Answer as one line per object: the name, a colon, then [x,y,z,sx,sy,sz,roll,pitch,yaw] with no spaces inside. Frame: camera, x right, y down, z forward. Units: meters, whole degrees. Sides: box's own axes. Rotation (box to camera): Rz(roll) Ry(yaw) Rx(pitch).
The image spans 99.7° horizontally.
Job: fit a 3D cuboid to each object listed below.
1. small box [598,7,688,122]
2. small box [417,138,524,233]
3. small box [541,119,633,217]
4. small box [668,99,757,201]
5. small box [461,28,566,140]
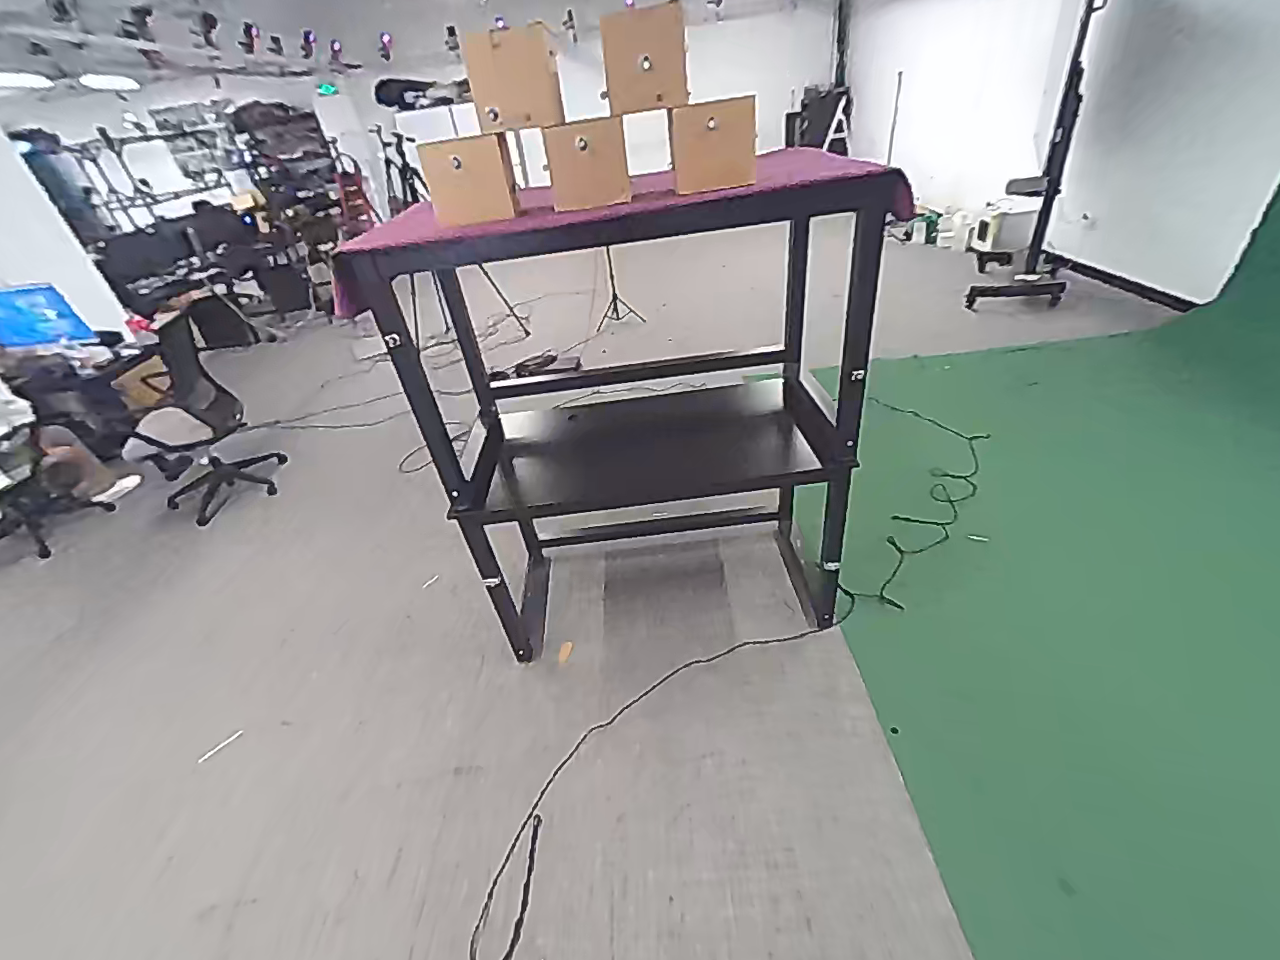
small box: [0.008,-0.868,1.143,0.168,0.176,0.179,-8,35,2]
small box: [-0.380,-0.681,1.248,0.179,0.176,0.168,-8,36,0]
small box: [-0.114,-0.709,1.231,0.179,0.176,0.168,-7,35,2]
small box: [0.162,-0.747,1.223,0.179,0.176,0.168,-8,34,3]
small box: [-0.259,-0.835,1.154,0.168,0.176,0.179,-6,34,3]
